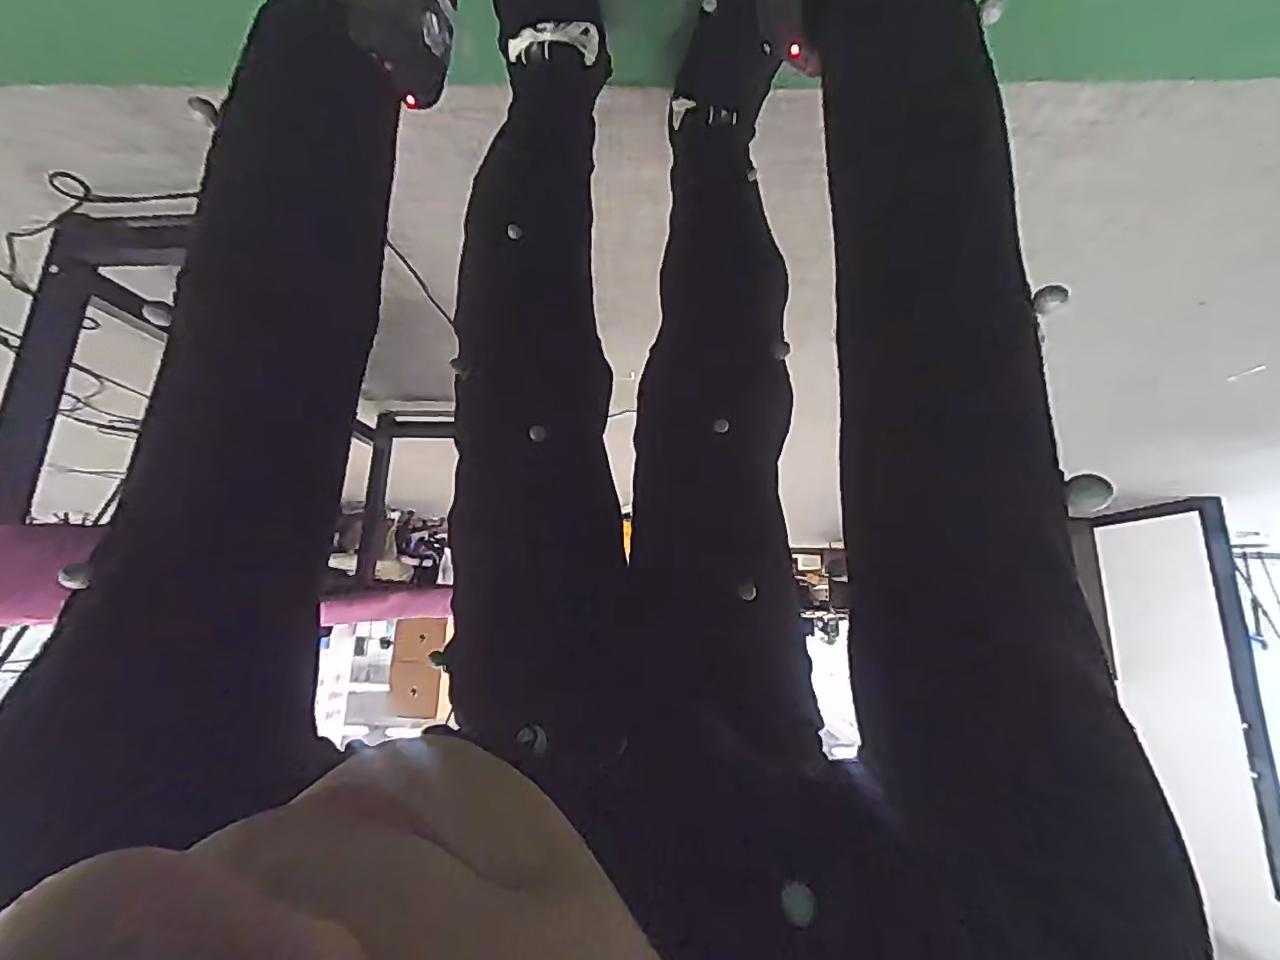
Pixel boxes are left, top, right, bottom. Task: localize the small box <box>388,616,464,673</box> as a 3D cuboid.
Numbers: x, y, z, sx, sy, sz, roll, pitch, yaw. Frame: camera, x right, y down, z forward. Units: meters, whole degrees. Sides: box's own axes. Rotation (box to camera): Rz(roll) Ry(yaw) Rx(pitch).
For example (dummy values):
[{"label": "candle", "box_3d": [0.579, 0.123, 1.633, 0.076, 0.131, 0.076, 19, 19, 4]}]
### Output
[{"label": "small box", "box_3d": [-0.698, 0.538, 1.777, 0.179, 0.176, 0.168, -1, 167, 4]}]
